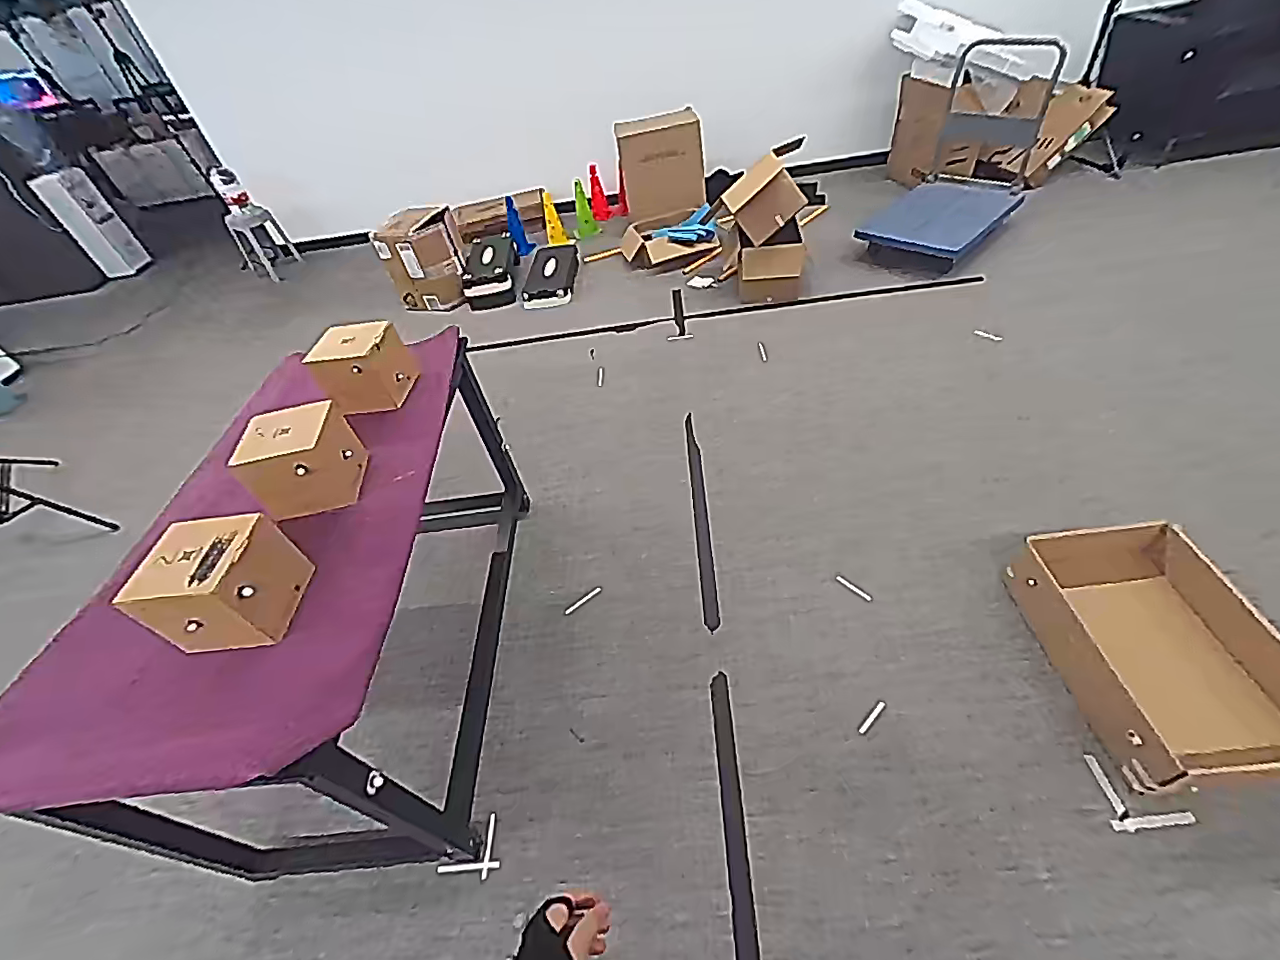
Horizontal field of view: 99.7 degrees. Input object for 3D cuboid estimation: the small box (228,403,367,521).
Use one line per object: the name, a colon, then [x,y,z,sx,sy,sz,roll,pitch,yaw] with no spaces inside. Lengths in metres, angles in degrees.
small box: [-0.721,-0.037,1.166,0.179,0.176,0.168,-13,45,-1]

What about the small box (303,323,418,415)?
small box: [-0.717,-0.283,1.408,0.179,0.176,0.168,-4,46,8]
